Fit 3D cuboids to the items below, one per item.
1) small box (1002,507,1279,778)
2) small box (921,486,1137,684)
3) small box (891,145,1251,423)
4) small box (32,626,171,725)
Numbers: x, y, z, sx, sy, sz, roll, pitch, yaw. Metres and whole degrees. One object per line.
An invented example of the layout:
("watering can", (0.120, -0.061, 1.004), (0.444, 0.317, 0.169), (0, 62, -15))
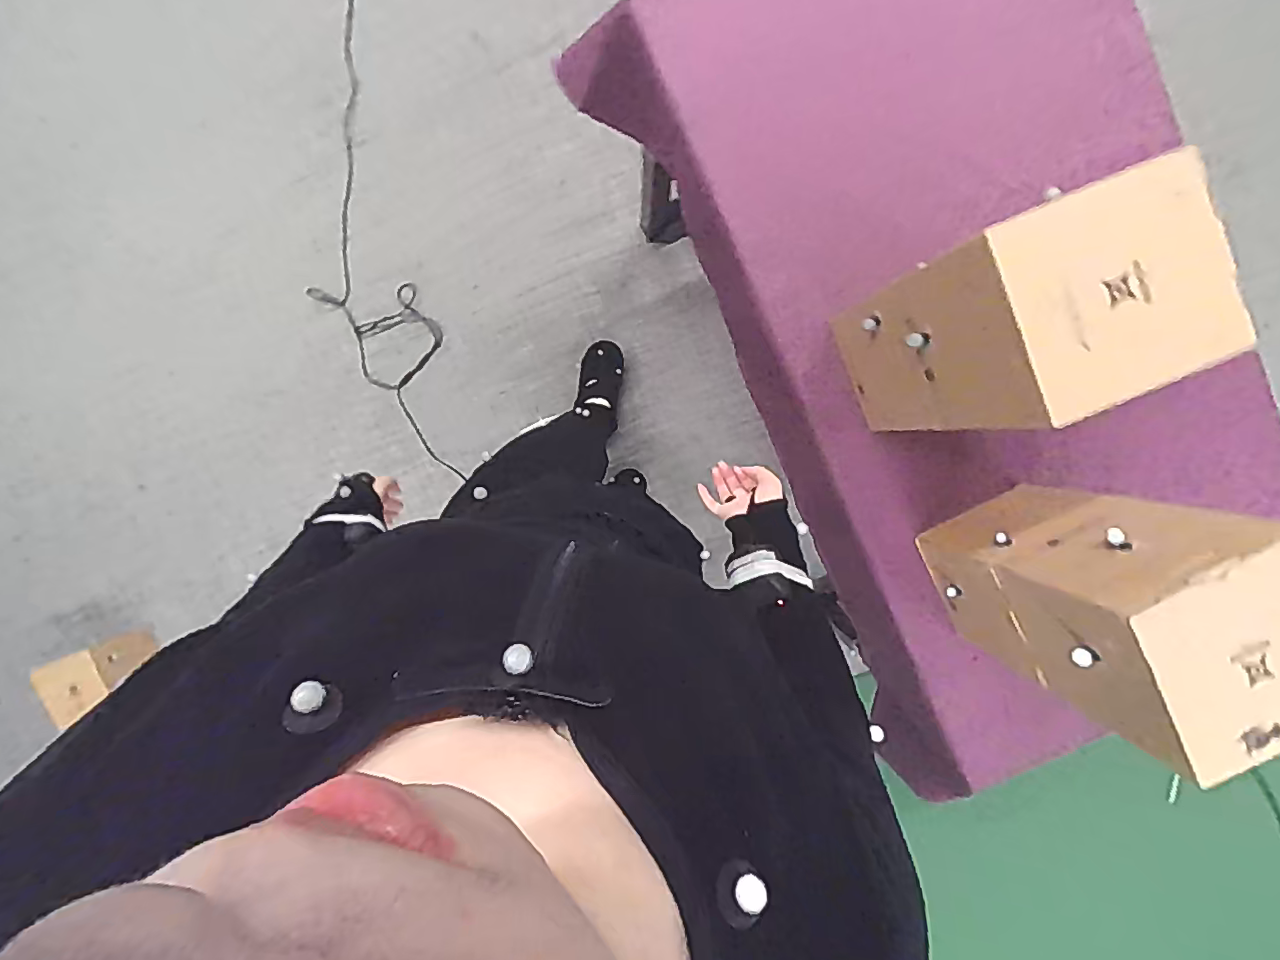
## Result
("small box", (0.506, 0.137, 0.530), (0.168, 0.176, 0.179), (-27, 94, 3))
("small box", (0.507, 0.120, 0.694), (0.179, 0.176, 0.168), (-26, 95, 2))
("small box", (0.373, -0.159, 0.500), (0.179, 0.176, 0.168), (-22, 94, 1))
("small box", (-1.415, 0.506, 1.433), (0.168, 0.176, 0.179), (-20, 95, 2))
